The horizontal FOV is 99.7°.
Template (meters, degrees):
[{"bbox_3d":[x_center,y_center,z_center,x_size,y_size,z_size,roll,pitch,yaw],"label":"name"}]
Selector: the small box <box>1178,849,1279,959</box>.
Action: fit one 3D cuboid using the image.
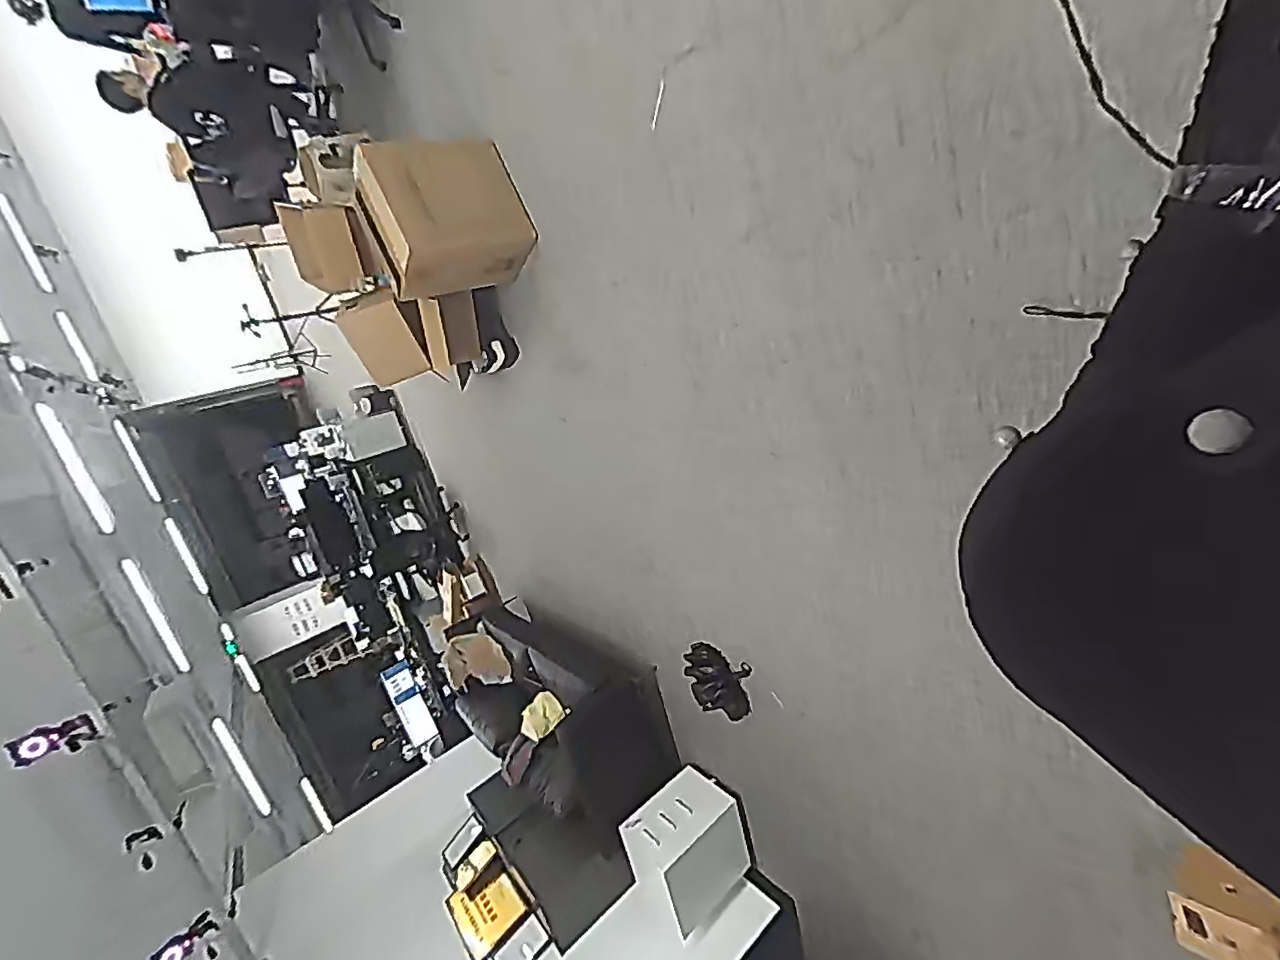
[{"bbox_3d":[1.400,1.004,1.248,0.179,0.176,0.168,-10,103,57],"label":"small box"}]
